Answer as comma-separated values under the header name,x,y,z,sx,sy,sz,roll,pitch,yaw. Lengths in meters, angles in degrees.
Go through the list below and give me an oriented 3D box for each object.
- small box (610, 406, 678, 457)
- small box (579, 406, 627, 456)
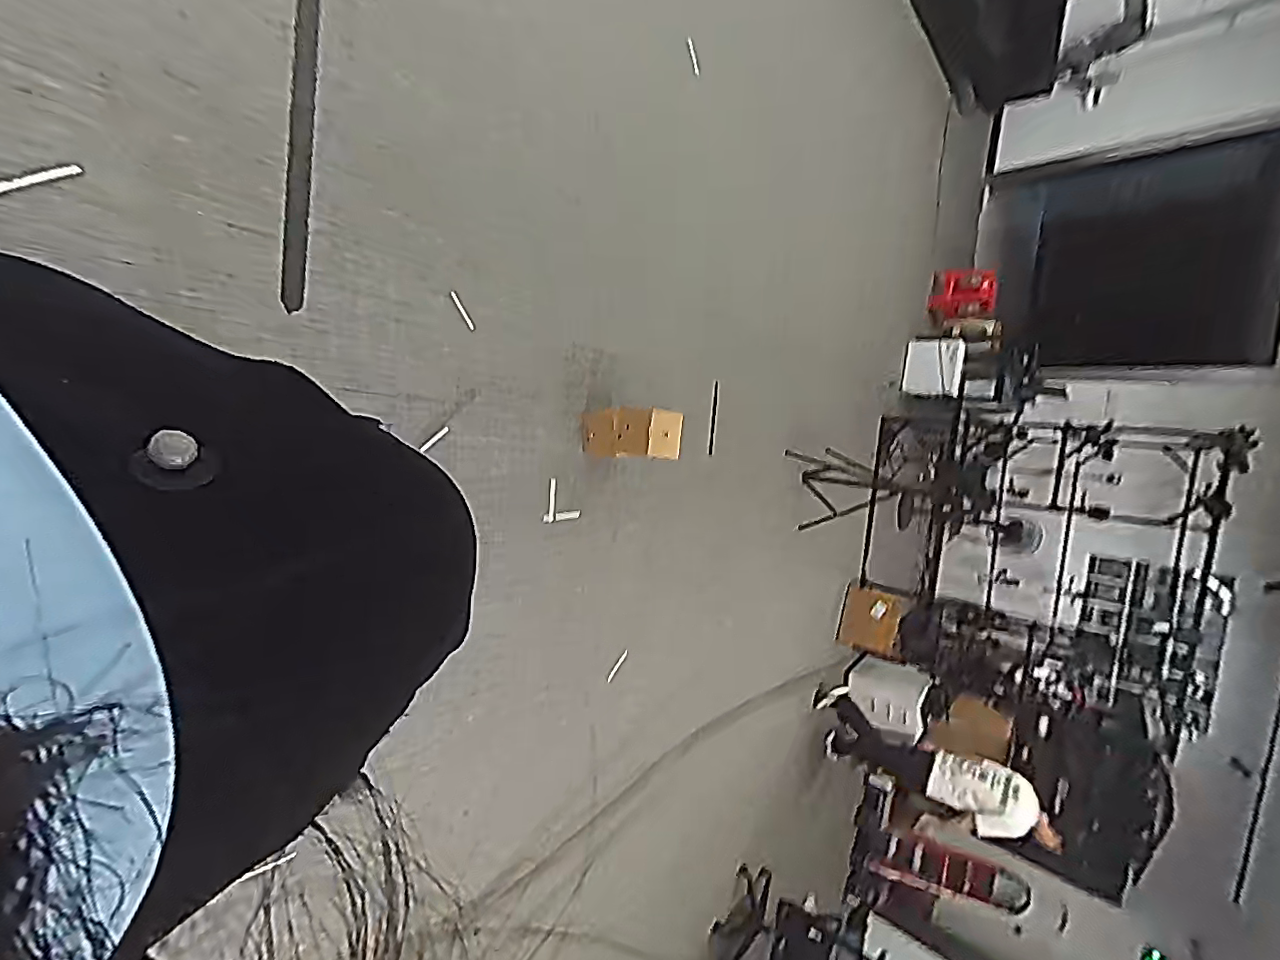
name,x,y,z,sx,sy,sz,roll,pitch,yaw
small box,0.014,-0.178,1.964,0.179,0.176,0.168,1,97,-49
small box,-0.113,-0.191,2.065,0.179,0.176,0.168,-17,110,-46
